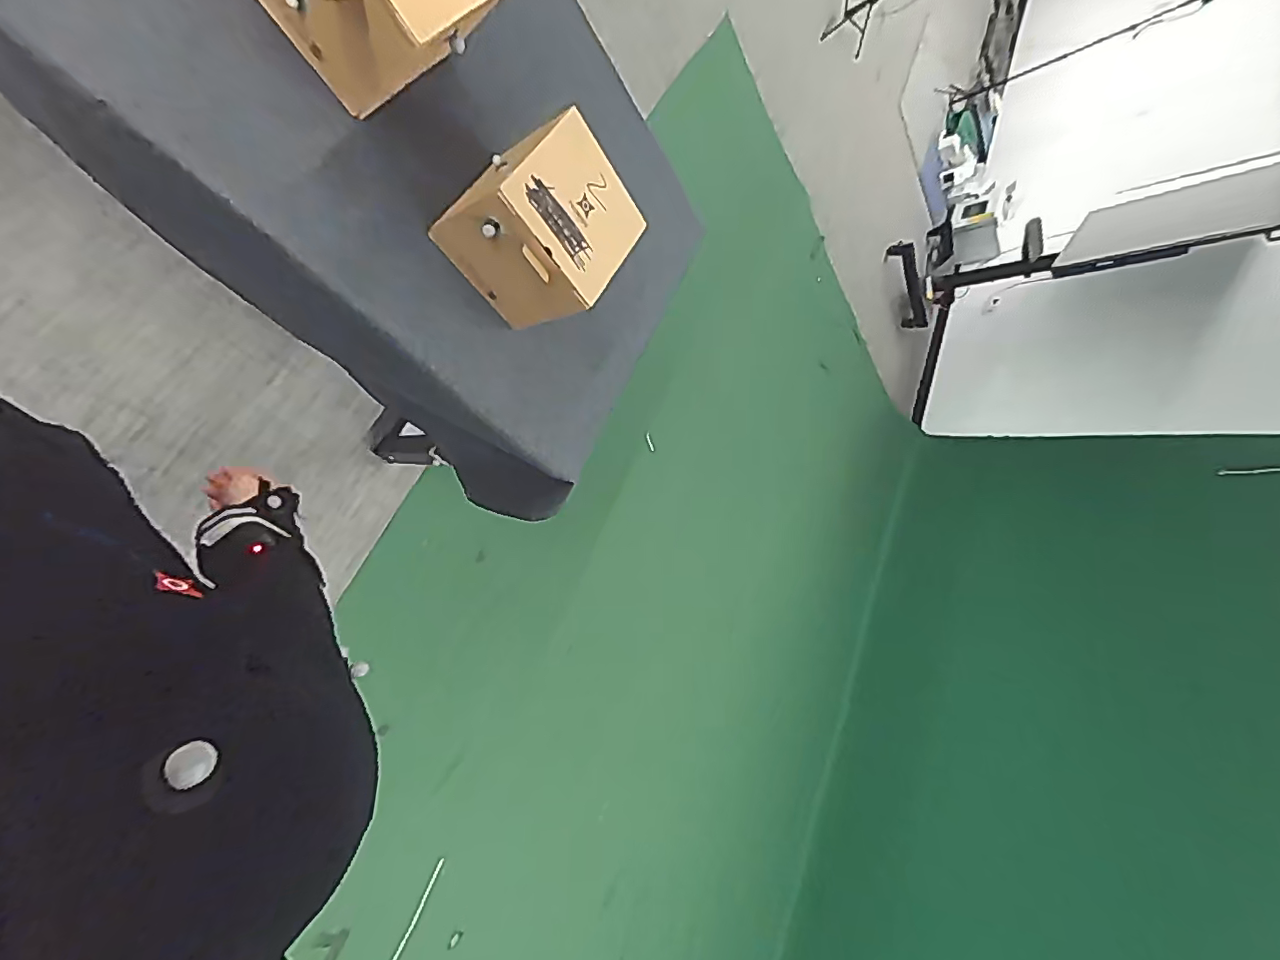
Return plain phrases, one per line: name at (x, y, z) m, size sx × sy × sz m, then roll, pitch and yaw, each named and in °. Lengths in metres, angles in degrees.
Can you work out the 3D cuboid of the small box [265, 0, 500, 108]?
small box at (-0.263, -0.525, 0.544) m, size 0.168 × 0.176 × 0.179 m, roll 51°, pitch 58°, yaw -37°
